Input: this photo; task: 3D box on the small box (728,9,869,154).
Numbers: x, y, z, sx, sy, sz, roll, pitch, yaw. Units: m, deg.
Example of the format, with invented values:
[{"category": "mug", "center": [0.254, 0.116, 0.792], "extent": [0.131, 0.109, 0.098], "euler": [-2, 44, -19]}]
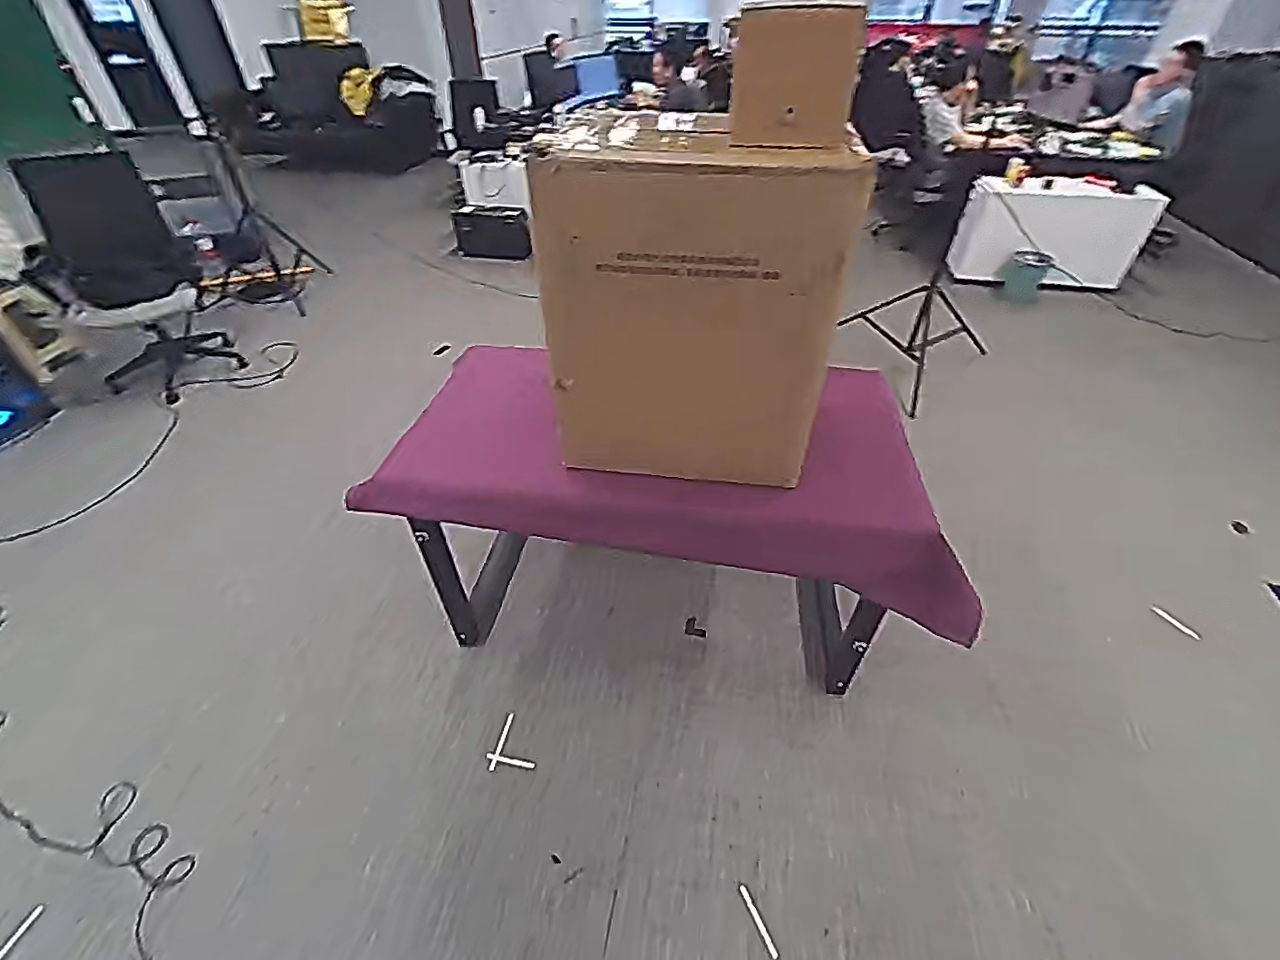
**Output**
[{"category": "small box", "center": [0.240, -0.625, 0.852], "extent": [0.179, 0.176, 0.168], "euler": [6, 42, 8]}]
